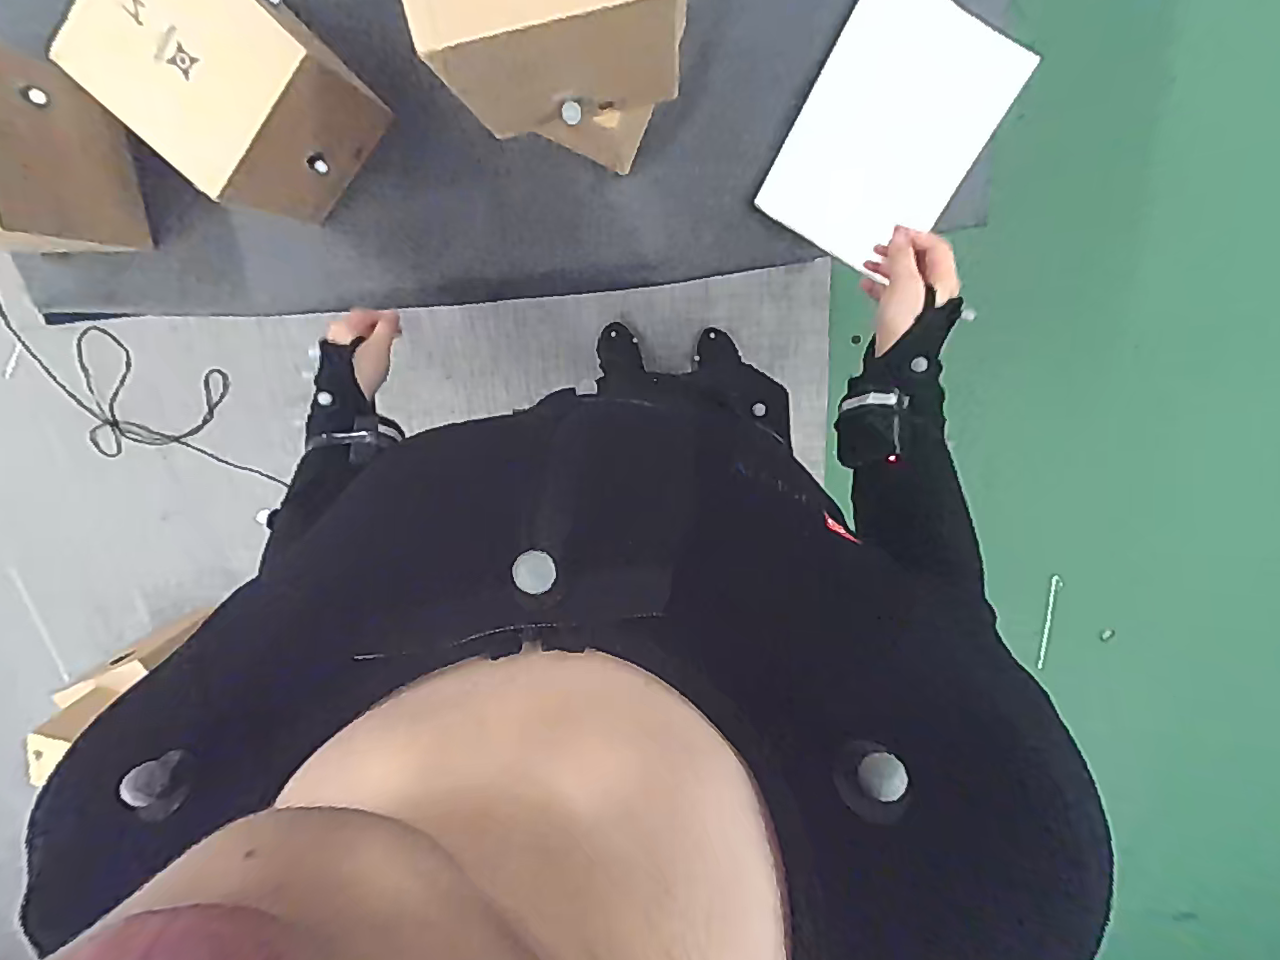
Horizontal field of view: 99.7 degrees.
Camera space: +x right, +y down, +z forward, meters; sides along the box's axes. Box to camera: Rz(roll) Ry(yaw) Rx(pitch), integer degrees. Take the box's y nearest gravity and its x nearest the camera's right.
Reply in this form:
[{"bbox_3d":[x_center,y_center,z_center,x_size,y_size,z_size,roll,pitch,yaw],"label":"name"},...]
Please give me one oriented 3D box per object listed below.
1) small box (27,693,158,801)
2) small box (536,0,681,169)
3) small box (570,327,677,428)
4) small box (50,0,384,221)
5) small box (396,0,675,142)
[{"bbox_3d":[-1.386,0.676,1.383,0.179,0.176,0.168,16,107,-5],"label":"small box"},{"bbox_3d":[-0.066,-0.434,0.529,0.179,0.176,0.168,24,107,-4],"label":"small box"},{"bbox_3d":[-0.034,-0.254,1.330,0.176,0.168,0.179,32,84,-38],"label":"small box"},{"bbox_3d":[-0.407,-0.394,0.556,0.179,0.176,0.168,43,104,-10],"label":"small box"},{"bbox_3d":[-0.070,-0.371,0.377,0.168,0.176,0.179,-9,107,6],"label":"small box"}]
